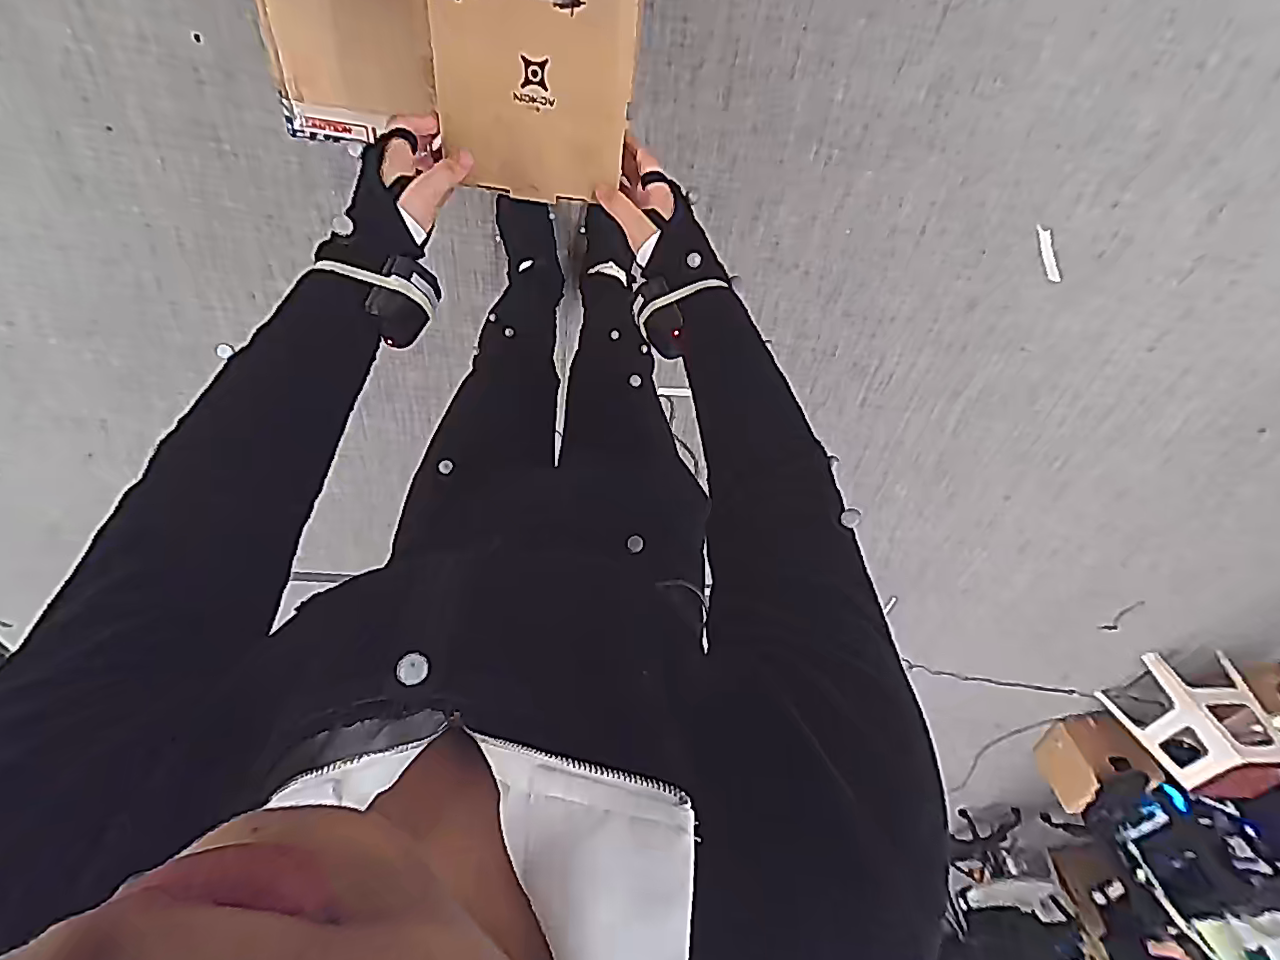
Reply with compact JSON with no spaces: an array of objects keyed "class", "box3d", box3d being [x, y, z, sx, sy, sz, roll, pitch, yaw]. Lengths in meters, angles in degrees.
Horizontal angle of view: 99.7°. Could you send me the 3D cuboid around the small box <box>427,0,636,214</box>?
[{"class":"small box","box3d":[-0.097,-0.386,0.525,0.168,0.176,0.179,3,132,-7]}]
